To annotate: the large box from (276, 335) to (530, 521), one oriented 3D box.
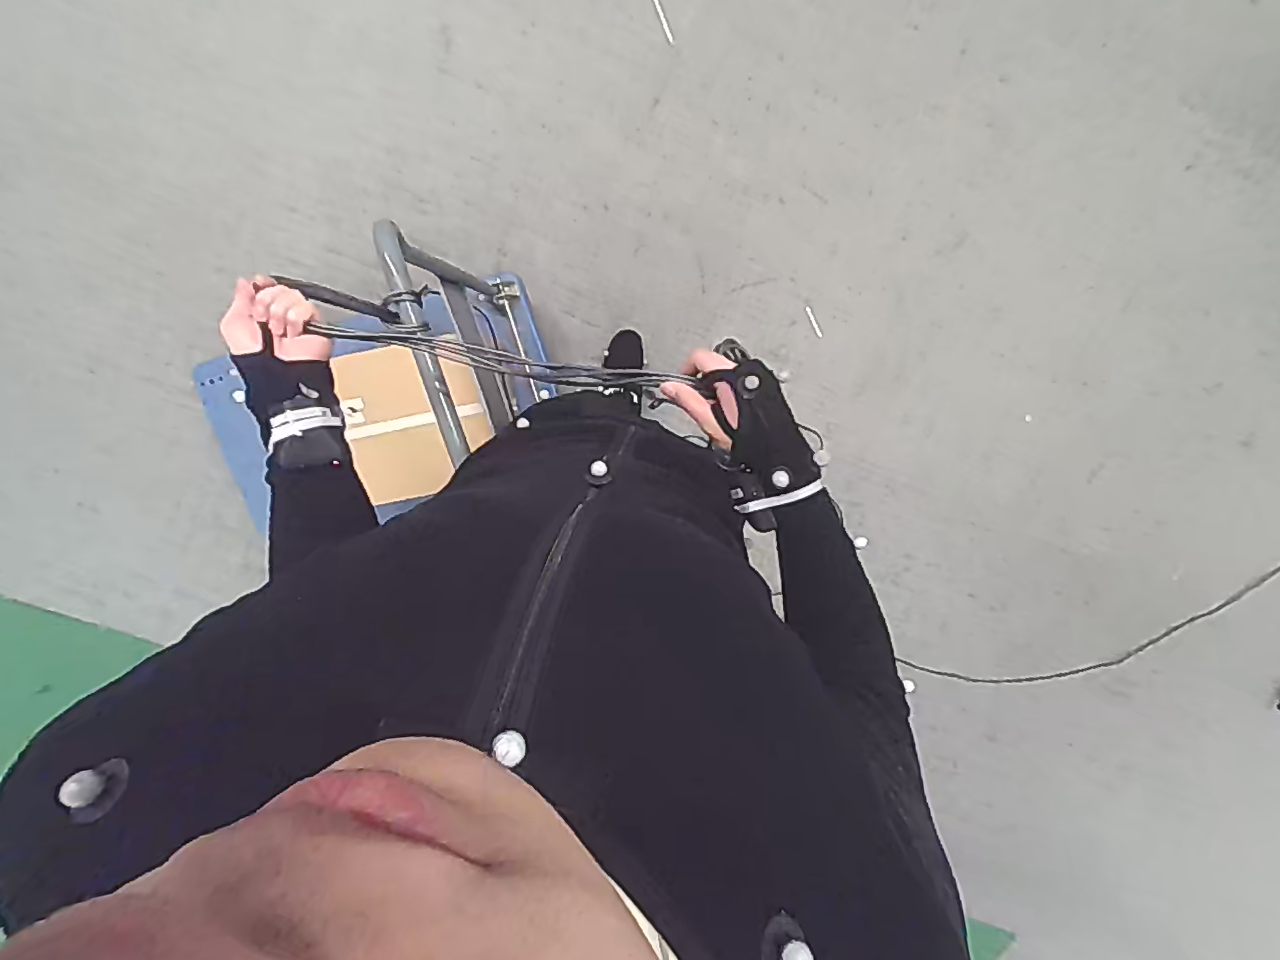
[{"bbox_3d":[-0.506,-0.132,1.247,0.408,0.320,0.320,-12,101,1],"label":"large box"}]
